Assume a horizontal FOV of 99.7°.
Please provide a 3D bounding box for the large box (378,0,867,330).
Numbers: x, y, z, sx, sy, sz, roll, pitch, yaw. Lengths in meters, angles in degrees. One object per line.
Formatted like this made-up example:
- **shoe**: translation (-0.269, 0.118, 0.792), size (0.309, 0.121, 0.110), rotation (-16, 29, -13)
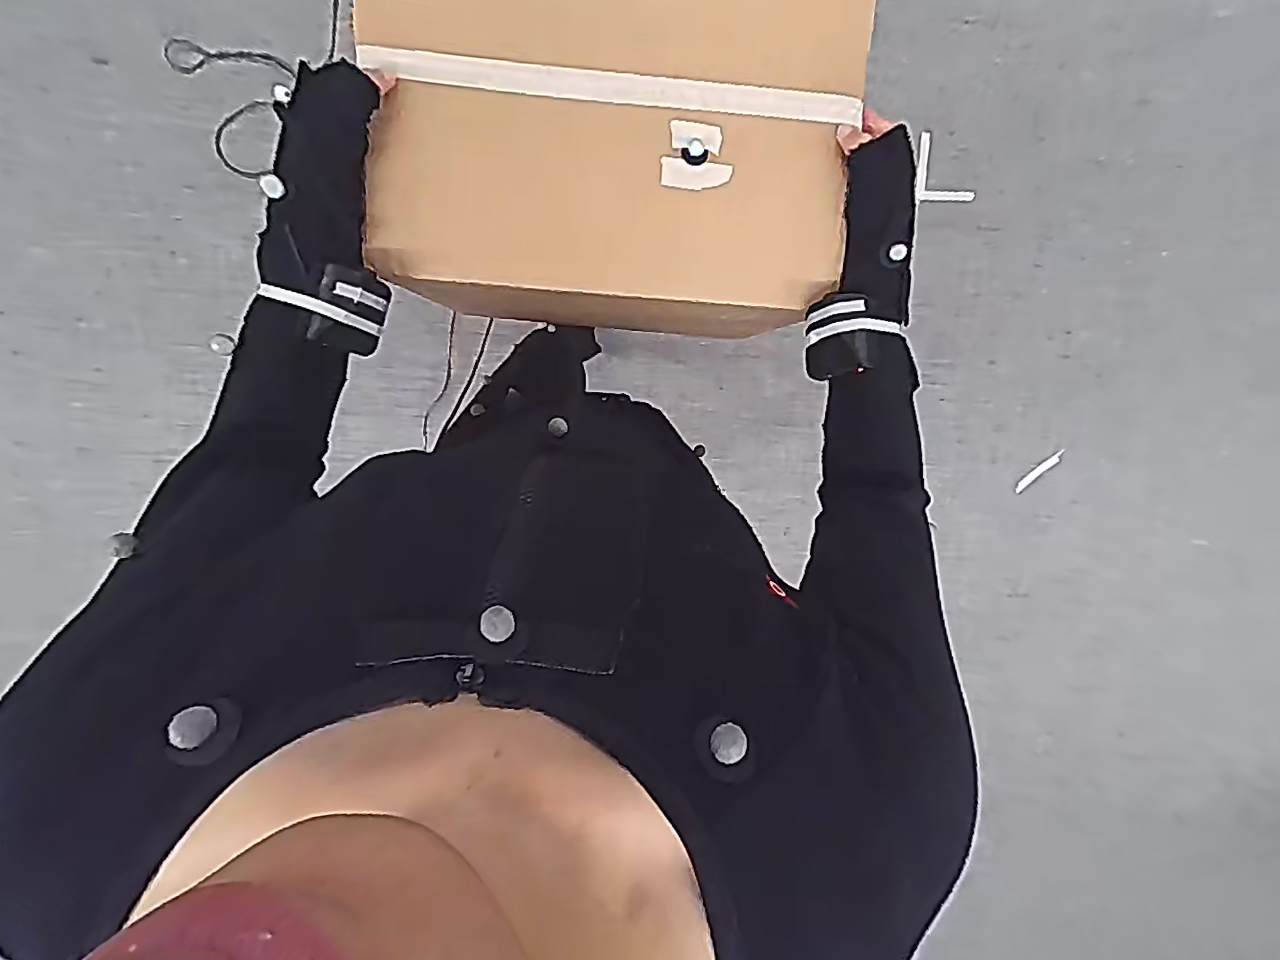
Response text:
- **large box**: translation (-0.024, -0.349, 0.595), size (0.408, 0.320, 0.320), rotation (3, 100, -4)
